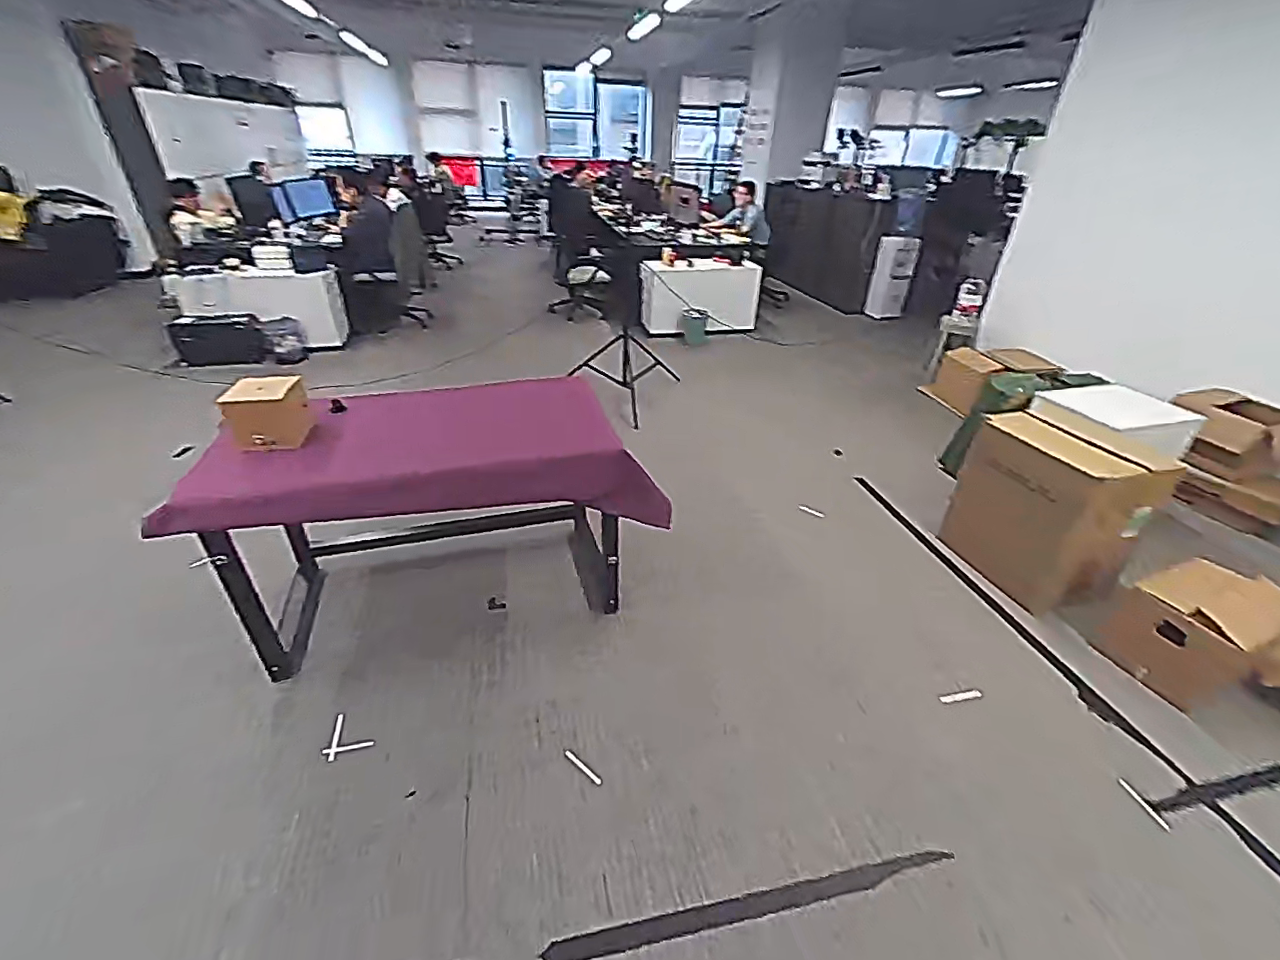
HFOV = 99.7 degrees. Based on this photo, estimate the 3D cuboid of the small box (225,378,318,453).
[{"bbox_3d":[-1.110,-0.197,1.647,0.168,0.176,0.179,-5,34,-10],"label":"small box"}]
